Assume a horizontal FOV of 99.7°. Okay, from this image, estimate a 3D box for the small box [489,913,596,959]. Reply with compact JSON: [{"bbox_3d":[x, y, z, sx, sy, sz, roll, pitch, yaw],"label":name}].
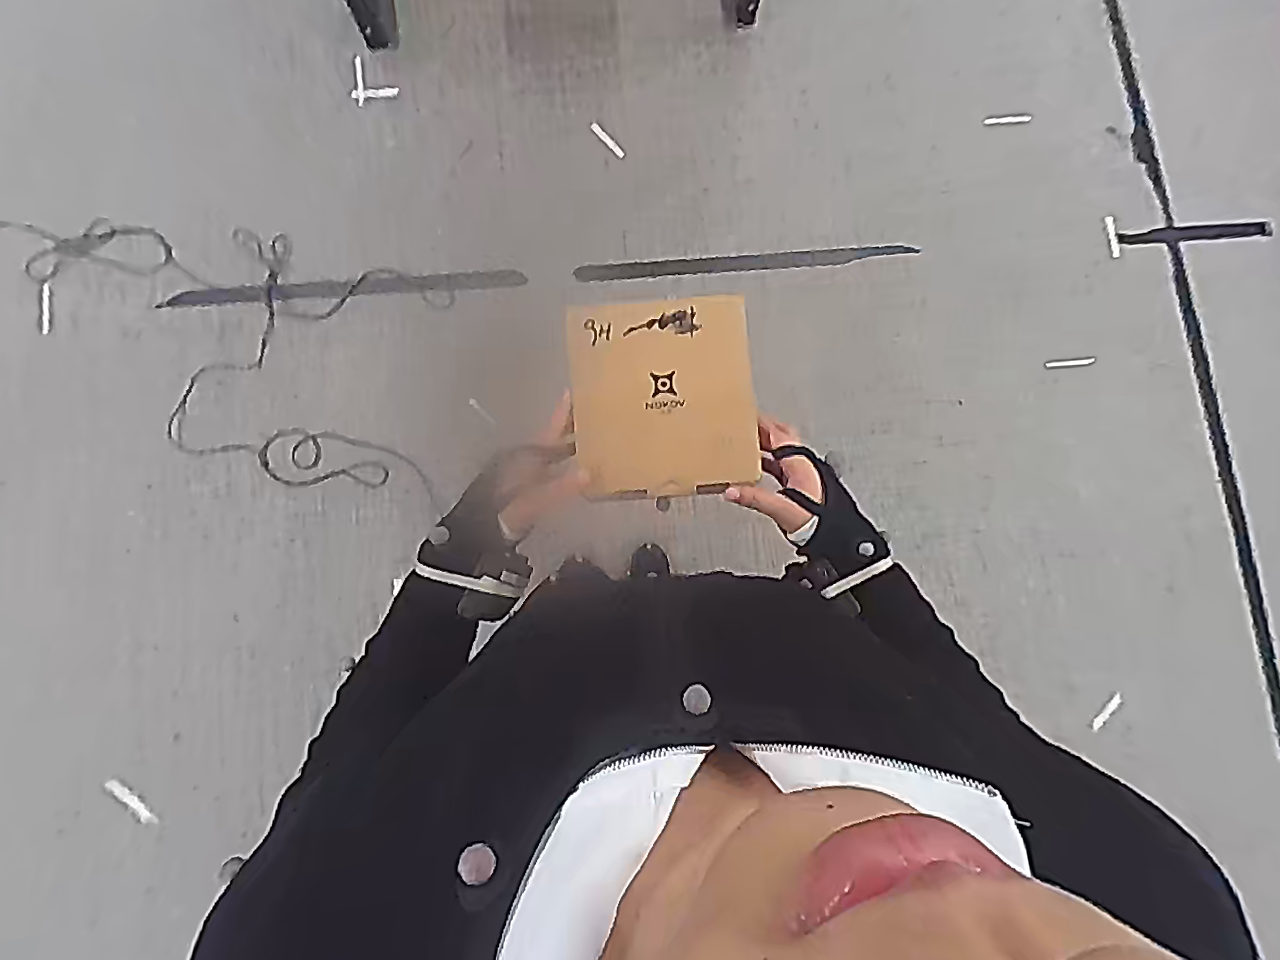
[{"bbox_3d":[-0.152,0.837,0.850,0.168,0.176,0.179,-6,81,-4],"label":"small box"}]
